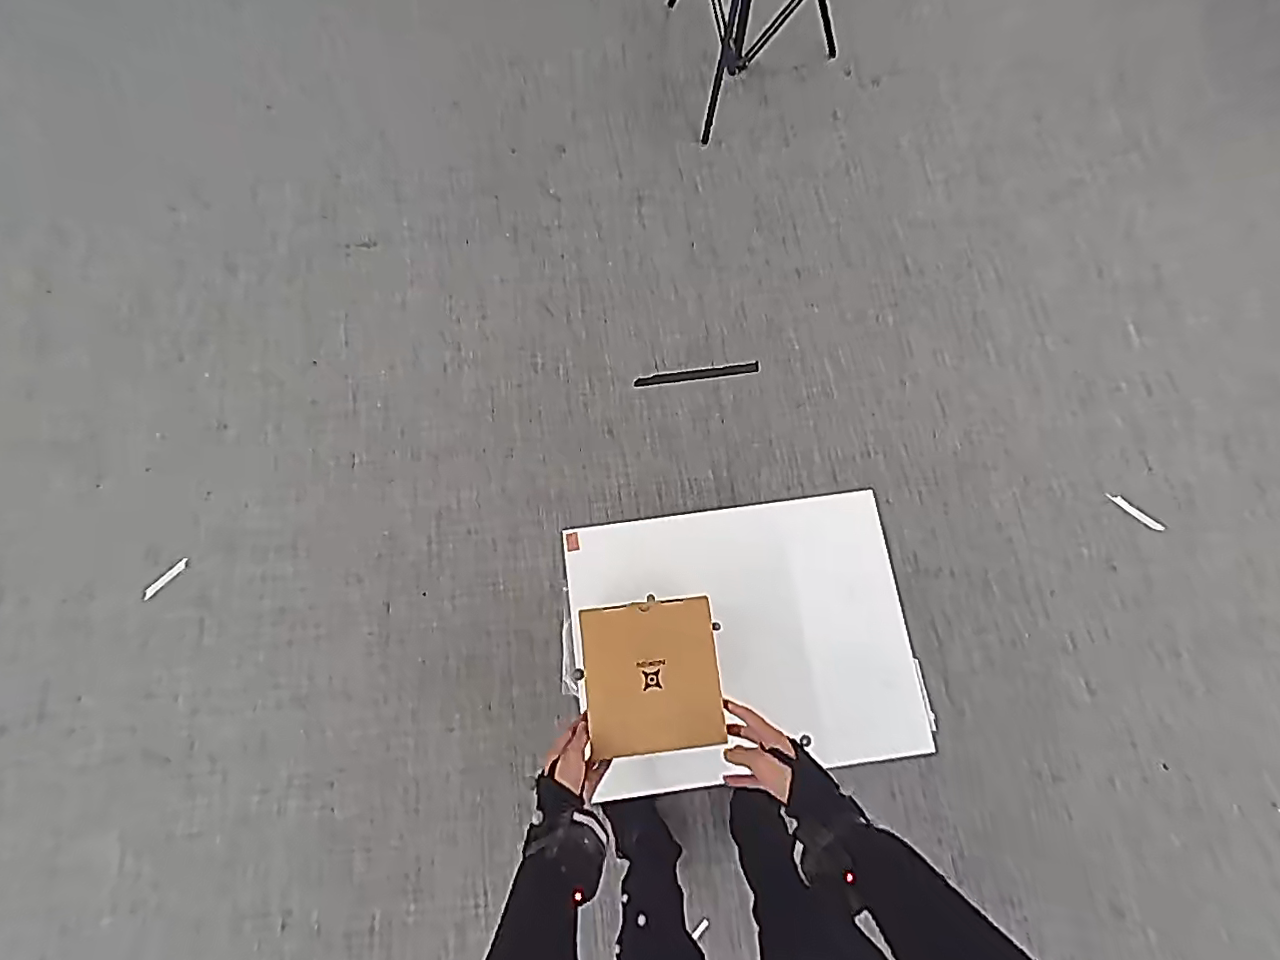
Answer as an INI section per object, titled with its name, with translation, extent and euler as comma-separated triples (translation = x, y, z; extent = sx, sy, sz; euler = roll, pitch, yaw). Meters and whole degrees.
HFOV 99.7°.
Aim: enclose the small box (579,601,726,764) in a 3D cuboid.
[small box]
translation = 0.014, 0.261, 0.732
extent = 0.168, 0.176, 0.179
euler = -7, 76, -2
